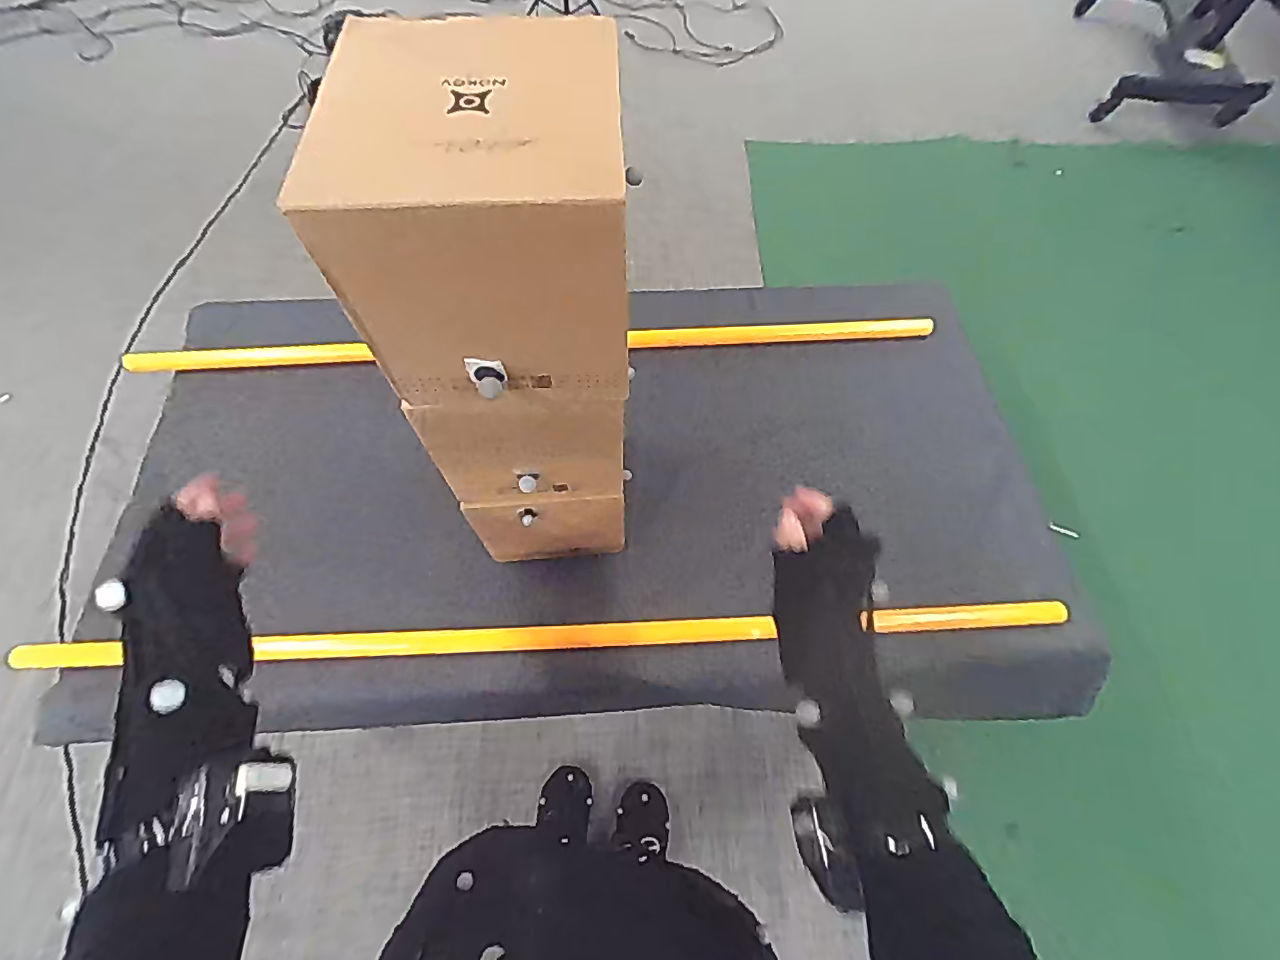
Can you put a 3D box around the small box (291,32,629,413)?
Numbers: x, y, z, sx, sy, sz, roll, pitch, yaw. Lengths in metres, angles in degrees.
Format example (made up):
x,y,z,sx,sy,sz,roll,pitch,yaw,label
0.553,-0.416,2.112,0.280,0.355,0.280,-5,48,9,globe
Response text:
x,y,z,sx,sy,sz,roll,pitch,yaw,label
-0.094,-0.166,0.372,0.168,0.176,0.179,-3,64,-2,small box

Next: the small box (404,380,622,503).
x,y,z,sx,sy,sz,roll,pitch,yaw,label
-0.103,-0.093,0.516,0.168,0.176,0.179,-3,63,-3,small box

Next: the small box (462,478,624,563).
x,y,z,sx,sy,sz,roll,pitch,yaw,label
-0.108,-0.013,0.660,0.168,0.176,0.179,-5,62,-3,small box
